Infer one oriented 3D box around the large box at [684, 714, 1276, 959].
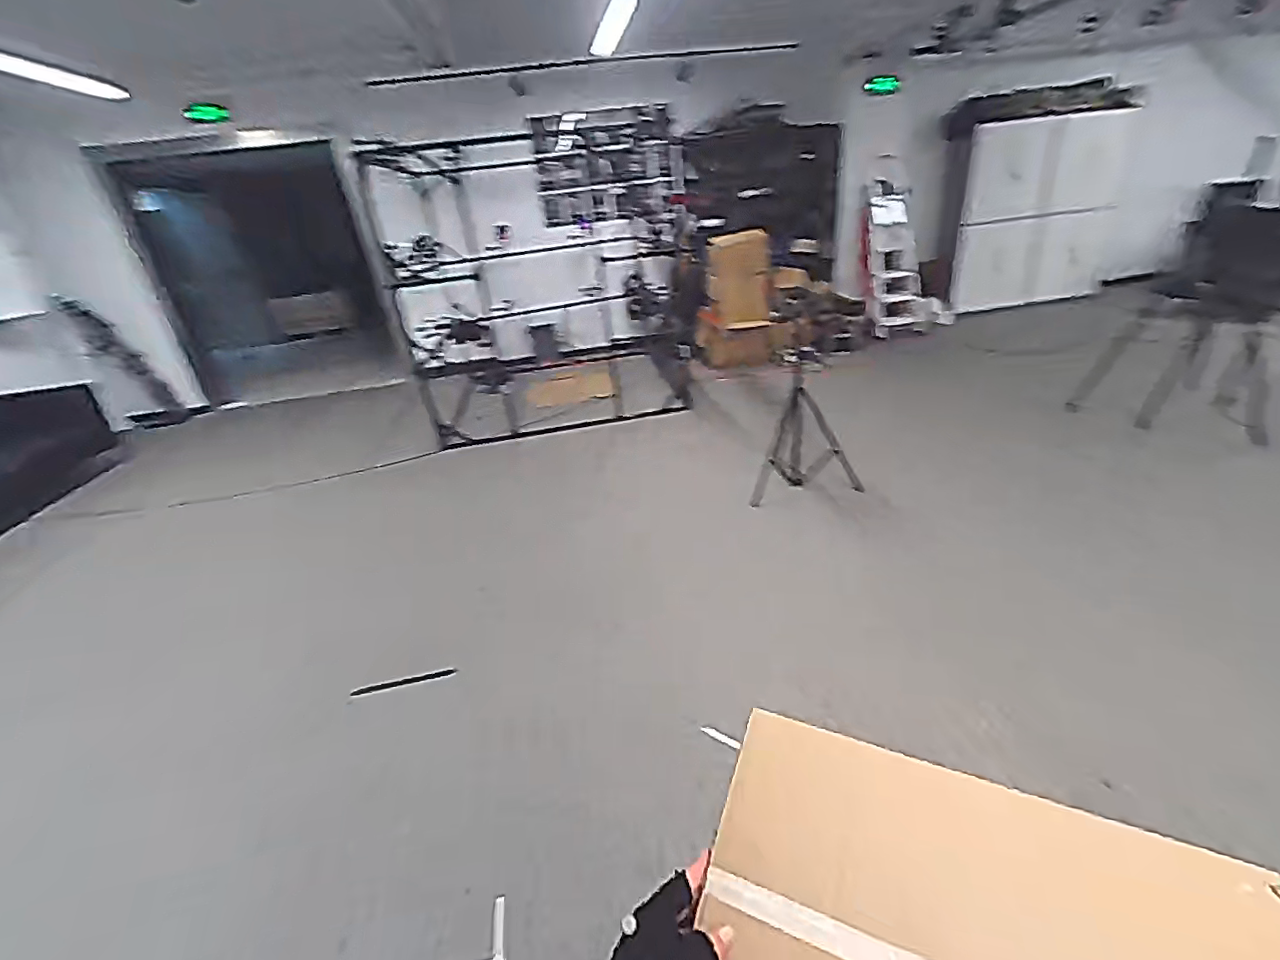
[{"bbox_3d":[0.260,0.478,0.500,0.408,0.320,0.320,9,47,21],"label":"large box"}]
